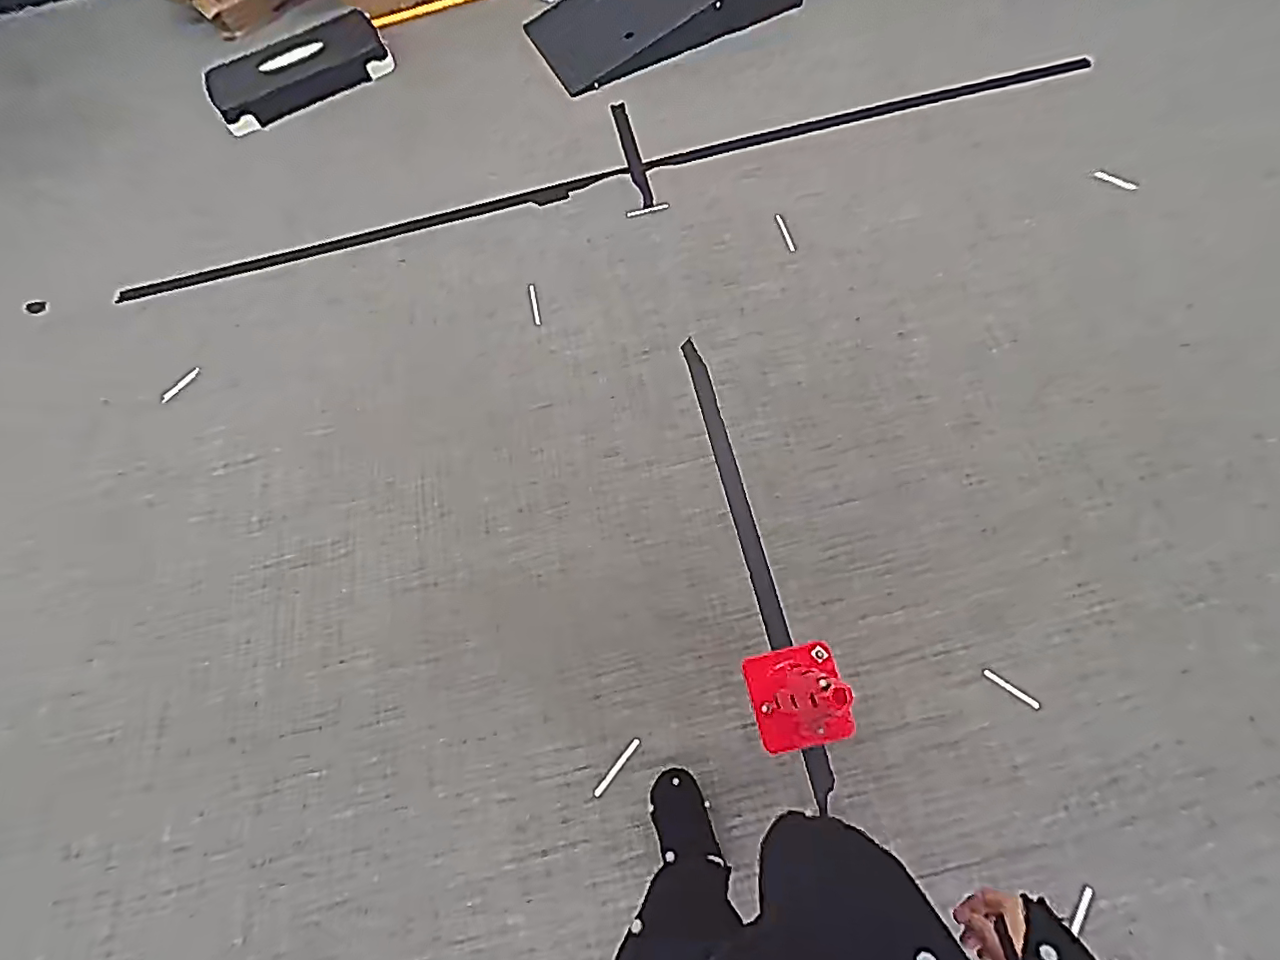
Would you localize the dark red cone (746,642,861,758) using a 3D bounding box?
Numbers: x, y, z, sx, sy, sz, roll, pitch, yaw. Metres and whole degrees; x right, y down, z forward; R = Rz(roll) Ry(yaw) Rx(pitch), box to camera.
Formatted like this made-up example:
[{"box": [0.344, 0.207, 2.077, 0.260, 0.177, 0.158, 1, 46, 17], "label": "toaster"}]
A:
[{"box": [0.328, 0.402, 0.992, 0.201, 0.394, 0.202, -15, 68, 0], "label": "dark red cone"}]
